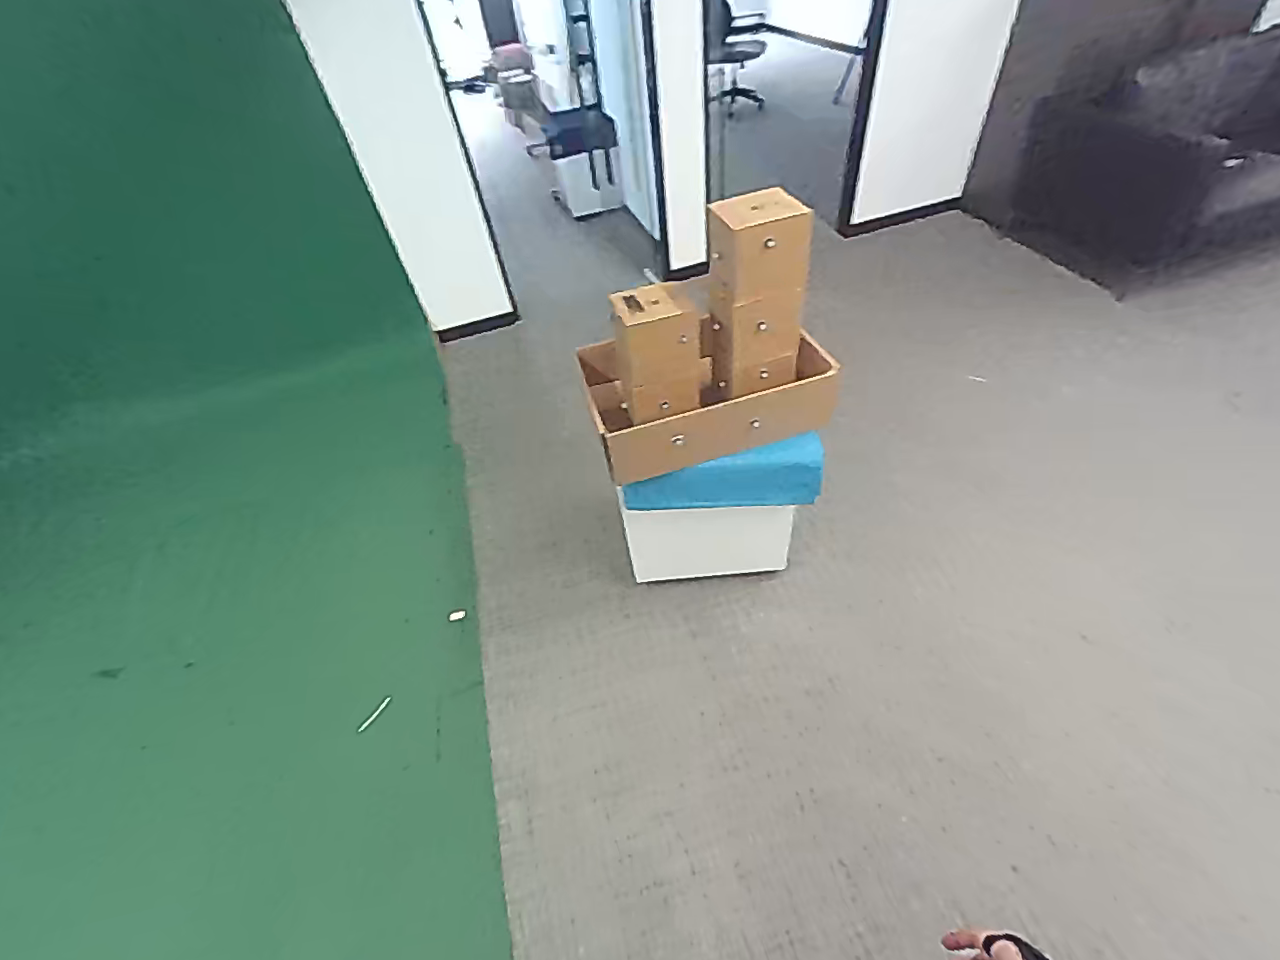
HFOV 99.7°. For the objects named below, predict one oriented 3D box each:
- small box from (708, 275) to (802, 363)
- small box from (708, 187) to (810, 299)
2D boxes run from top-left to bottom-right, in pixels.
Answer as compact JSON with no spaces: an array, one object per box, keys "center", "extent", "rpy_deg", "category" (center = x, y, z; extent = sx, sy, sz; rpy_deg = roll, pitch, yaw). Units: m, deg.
[{"center":[0.284,-0.415,1.338],"extent":[0.179,0.176,0.168],"rpy_deg":[-18,47,-5],"category":"small box"},{"center":[0.266,-0.533,1.224],"extent":[0.179,0.176,0.168],"rpy_deg":[-16,47,-4],"category":"small box"}]
